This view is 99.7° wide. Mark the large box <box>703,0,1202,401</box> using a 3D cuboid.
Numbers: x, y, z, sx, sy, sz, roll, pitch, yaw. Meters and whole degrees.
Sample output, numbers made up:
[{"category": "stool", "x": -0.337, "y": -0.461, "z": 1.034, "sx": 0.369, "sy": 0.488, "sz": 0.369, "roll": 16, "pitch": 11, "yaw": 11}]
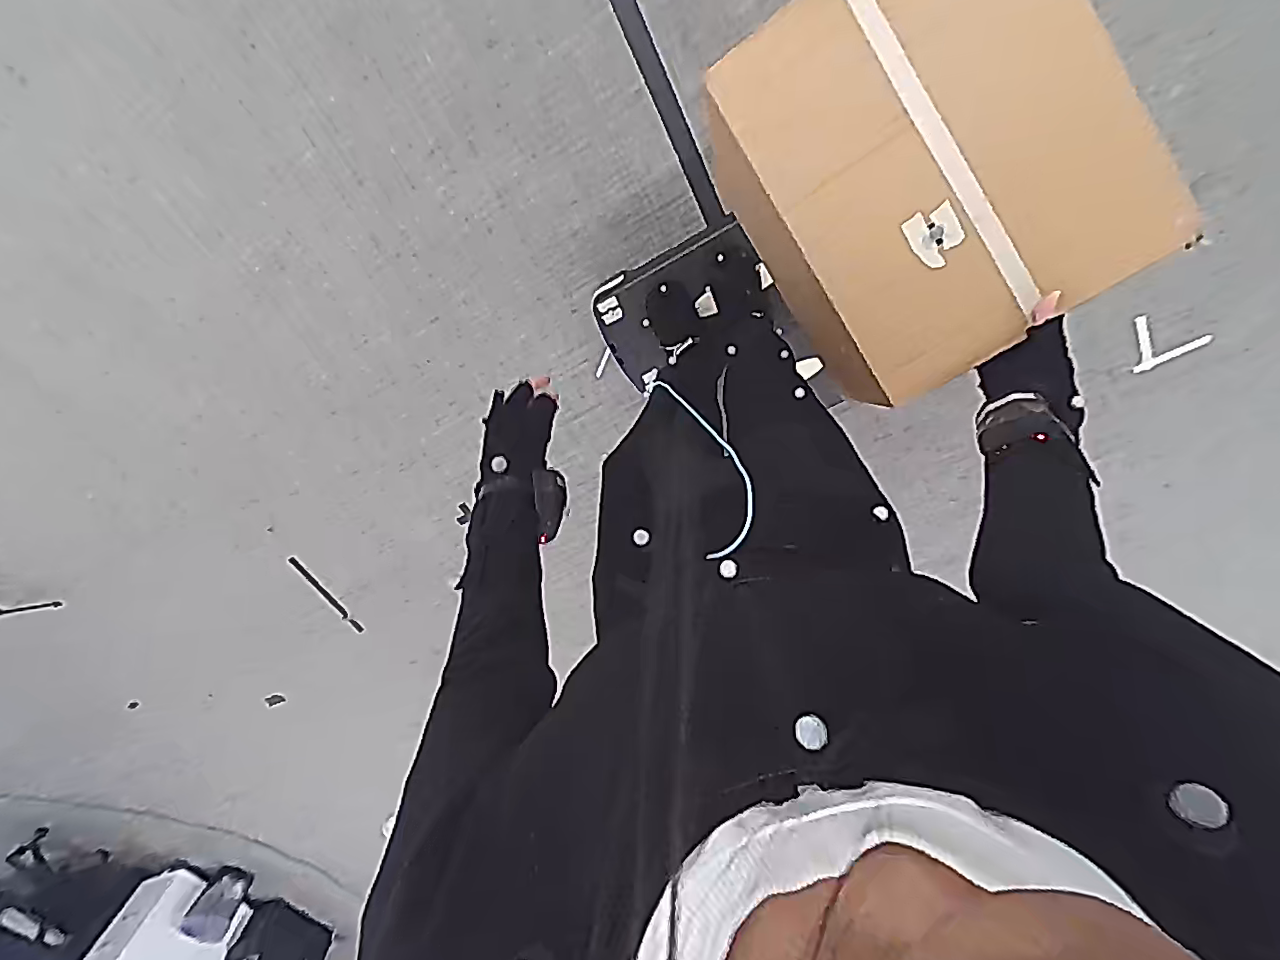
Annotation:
[{"category": "large box", "x": 0.321, "y": -0.355, "z": 0.675, "sx": 0.320, "sy": 0.320, "sz": 0.408, "roll": -32, "pitch": 94, "yaw": 17}]

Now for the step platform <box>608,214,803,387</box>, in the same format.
[{"category": "step platform", "x": 0.263, "y": -0.500, "z": 1.311, "sx": 0.684, "sy": 0.204, "sz": 0.286, "roll": -25, "pitch": 115, "yaw": 17}]
